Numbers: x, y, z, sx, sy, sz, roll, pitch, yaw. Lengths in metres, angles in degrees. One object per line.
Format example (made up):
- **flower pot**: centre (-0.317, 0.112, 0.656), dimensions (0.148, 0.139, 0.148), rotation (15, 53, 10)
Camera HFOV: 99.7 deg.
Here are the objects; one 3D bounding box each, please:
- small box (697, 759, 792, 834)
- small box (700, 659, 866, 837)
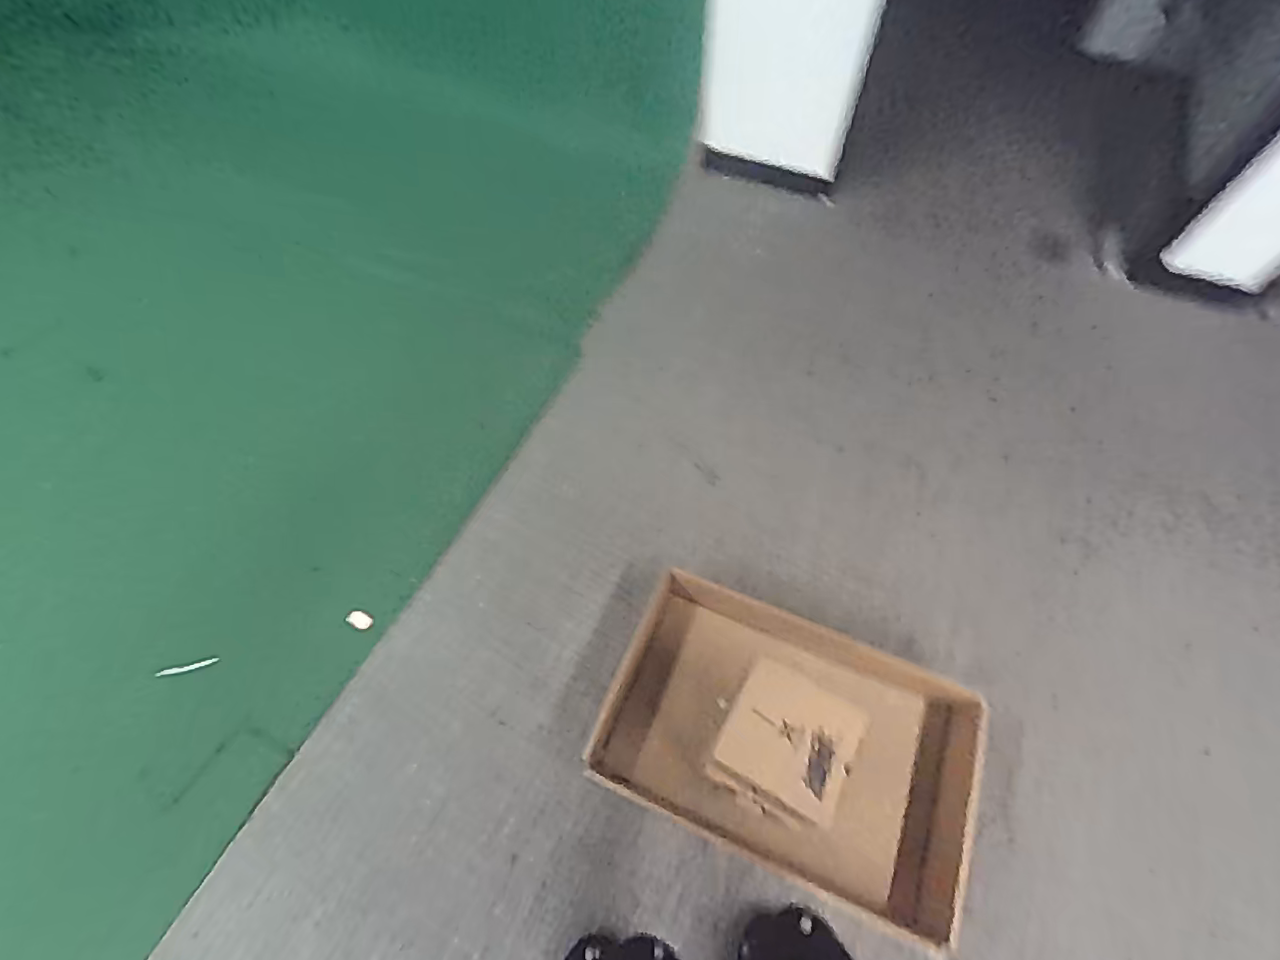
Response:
- **small box**: centre (0.212, 0.491, 0.969), dimensions (0.168, 0.176, 0.179), rotation (27, 66, 15)
- **small box**: centre (0.208, 0.404, 0.829), dimensions (0.179, 0.176, 0.168), rotation (29, 65, 17)
